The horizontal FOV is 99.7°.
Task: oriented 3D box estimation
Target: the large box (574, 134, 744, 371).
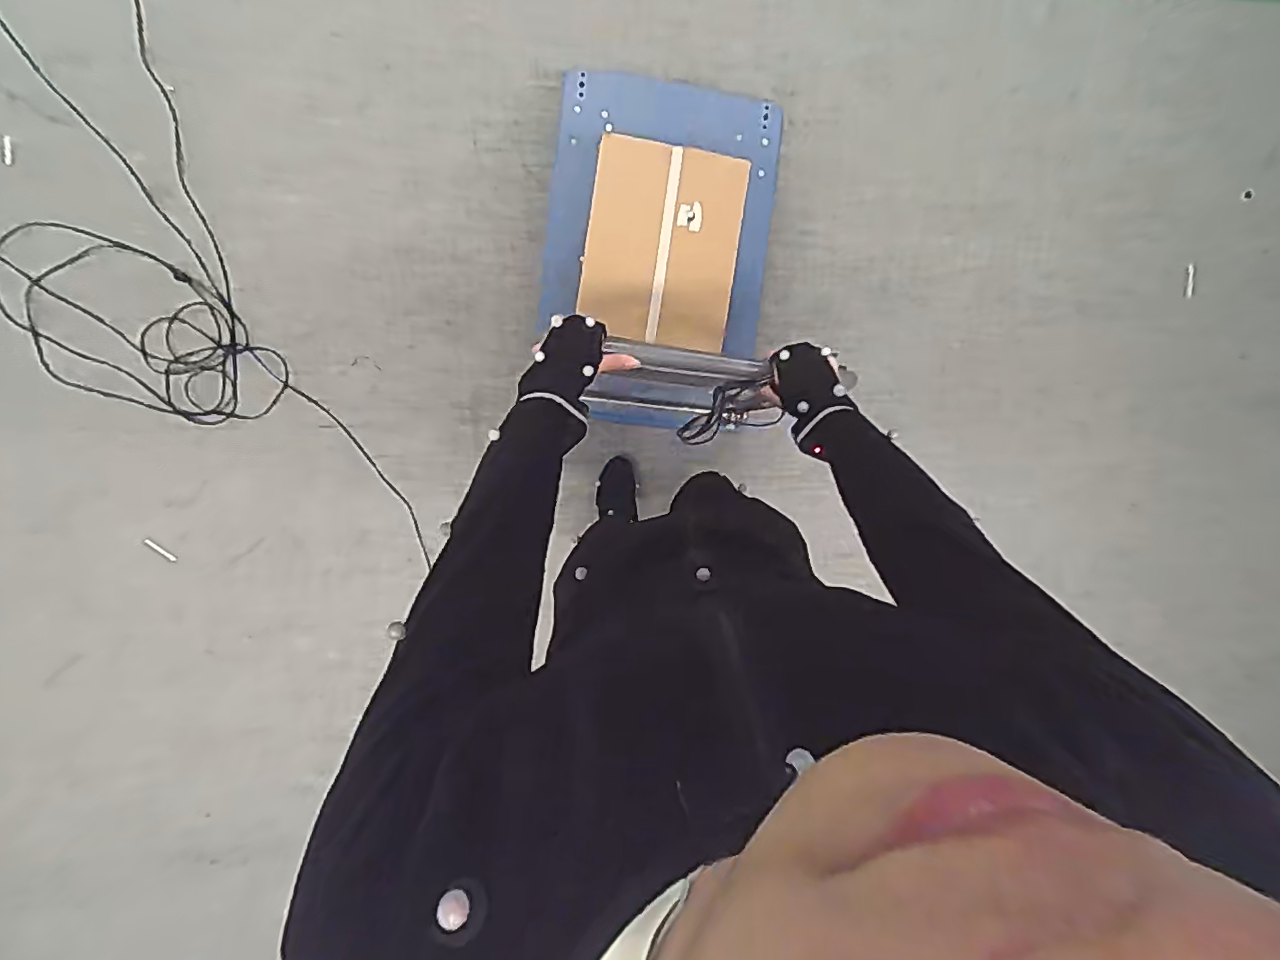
[{"bbox_3d":[0.028,-0.492,1.262,0.320,0.320,0.408,8,92,-7],"label":"large box"}]
